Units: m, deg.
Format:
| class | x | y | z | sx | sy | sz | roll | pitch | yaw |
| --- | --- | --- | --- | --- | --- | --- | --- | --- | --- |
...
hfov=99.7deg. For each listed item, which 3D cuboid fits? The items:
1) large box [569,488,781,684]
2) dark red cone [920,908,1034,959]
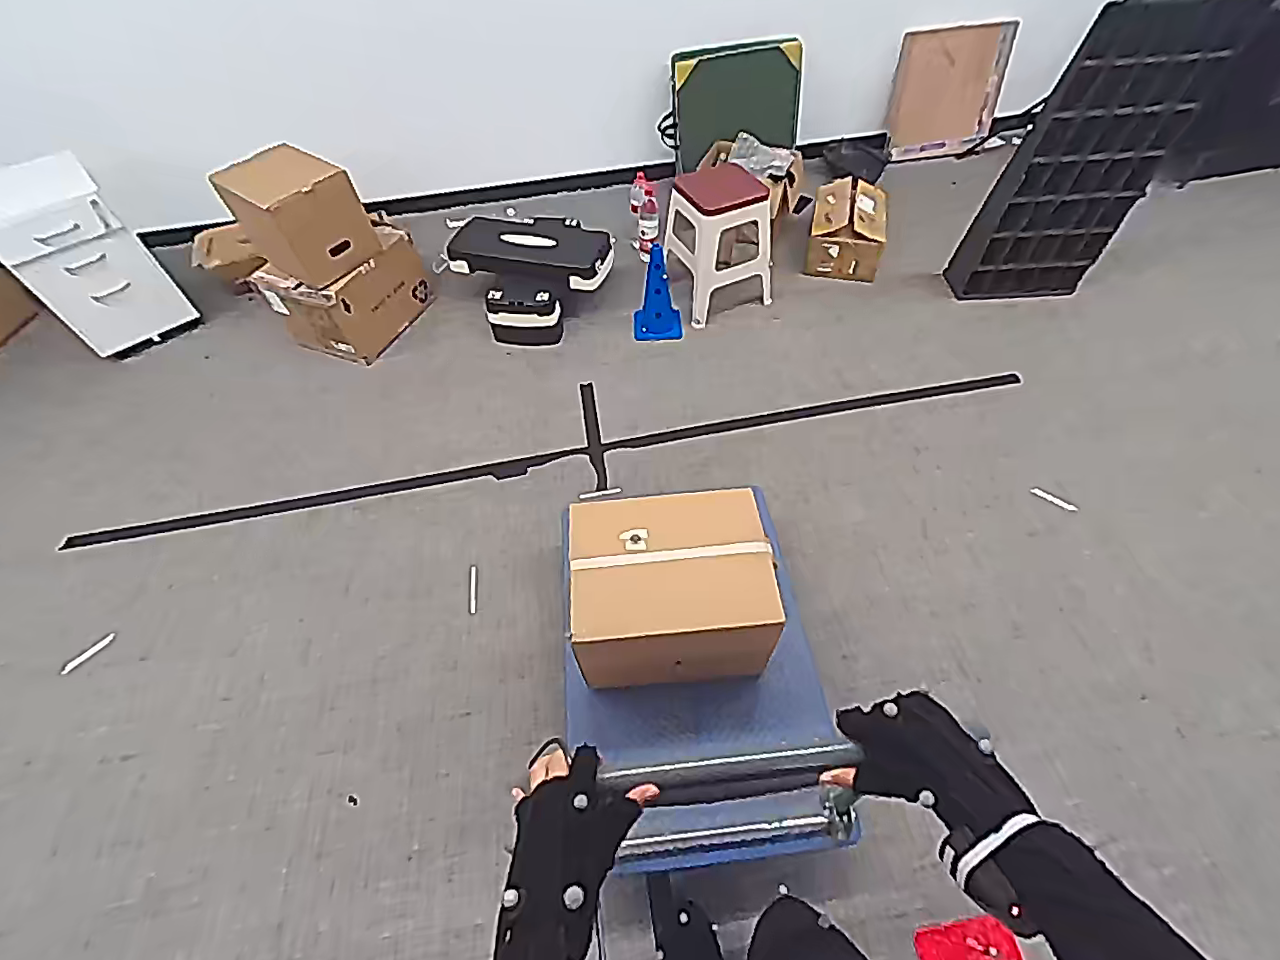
| class | x | y | z | sx | sy | sz | roll | pitch | yaw |
| --- | --- | --- | --- | --- | --- | --- | --- | --- | --- |
| large box | 0.064 | 0.248 | 1.218 | 0.408 | 0.320 | 0.320 | -6 | 53 | 0 |
| dark red cone | 0.657 | 0.853 | 0.892 | 0.201 | 0.394 | 0.202 | -8 | 54 | -5 |
